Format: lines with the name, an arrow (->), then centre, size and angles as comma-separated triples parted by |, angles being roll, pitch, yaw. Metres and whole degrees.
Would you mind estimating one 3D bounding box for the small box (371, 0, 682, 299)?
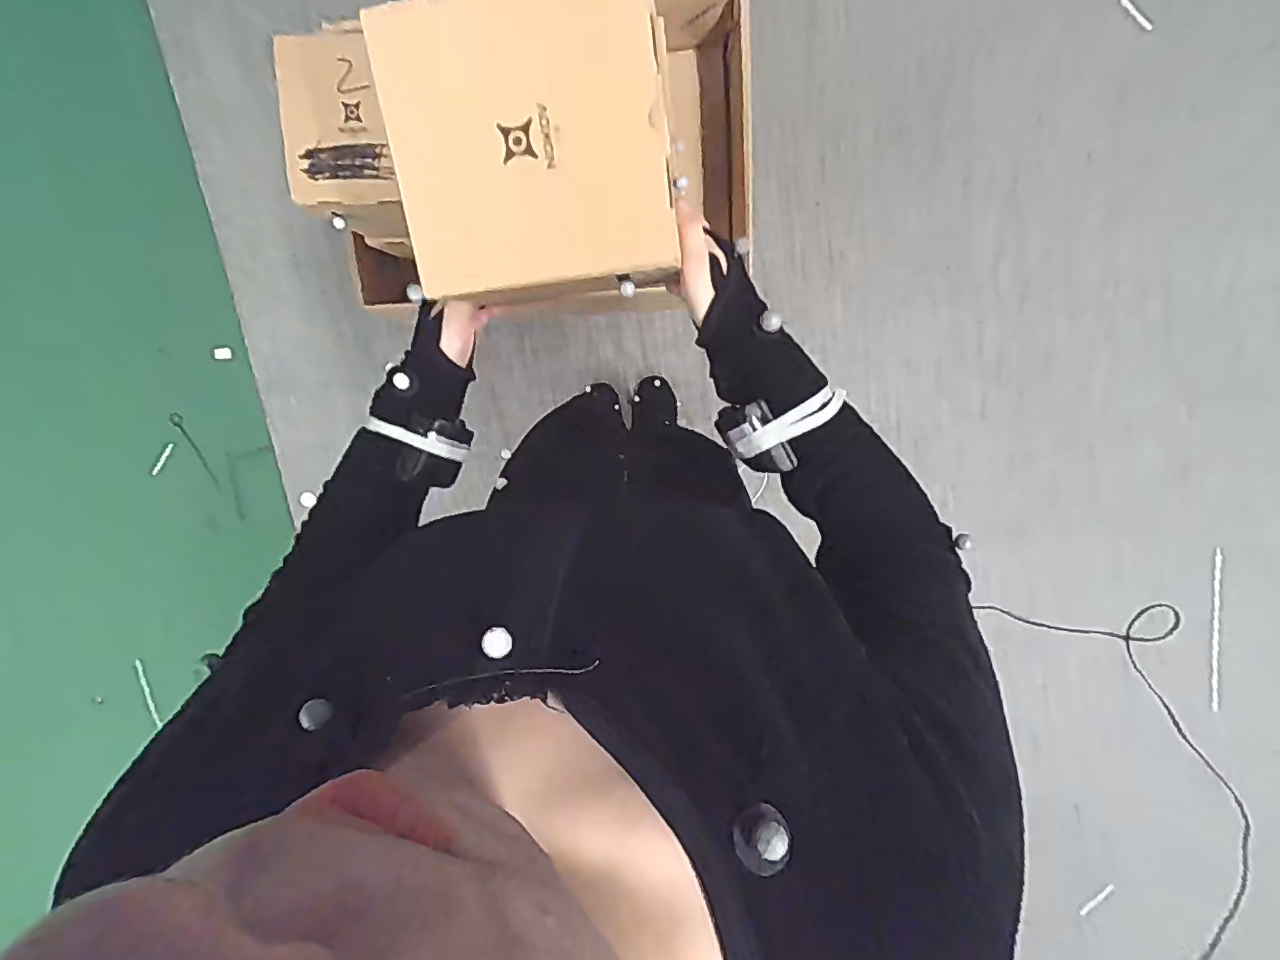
small box -> -0.062, -0.235, 0.412 | 0.179, 0.176, 0.168 | -5, 106, 6
